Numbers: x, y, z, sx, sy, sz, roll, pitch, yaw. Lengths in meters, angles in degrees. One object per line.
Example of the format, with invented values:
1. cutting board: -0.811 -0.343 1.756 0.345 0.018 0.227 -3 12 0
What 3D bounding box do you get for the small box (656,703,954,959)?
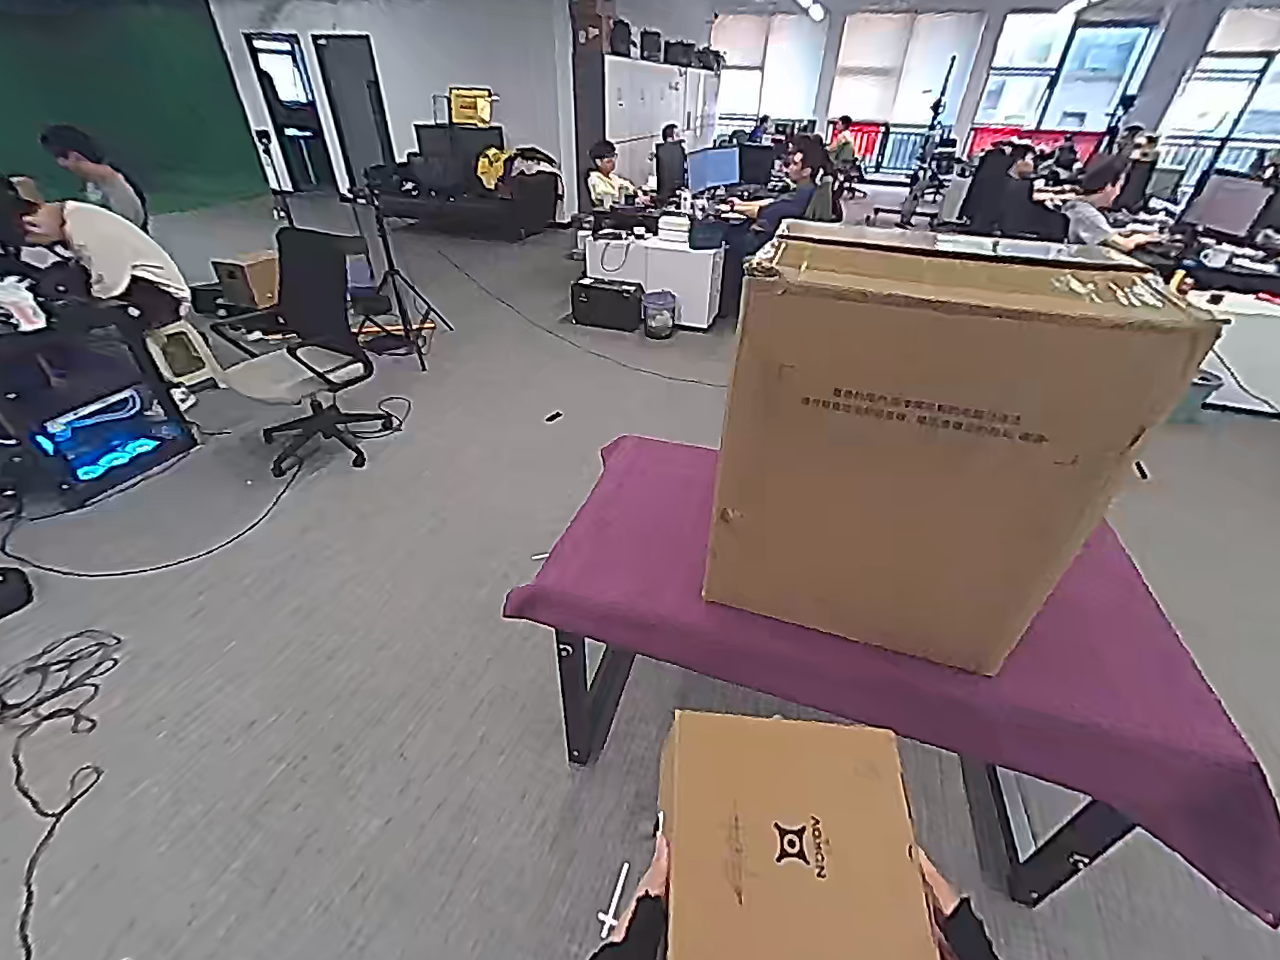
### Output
1. small box: 0.109 0.295 0.435 0.179 0.176 0.168 4 50 0
